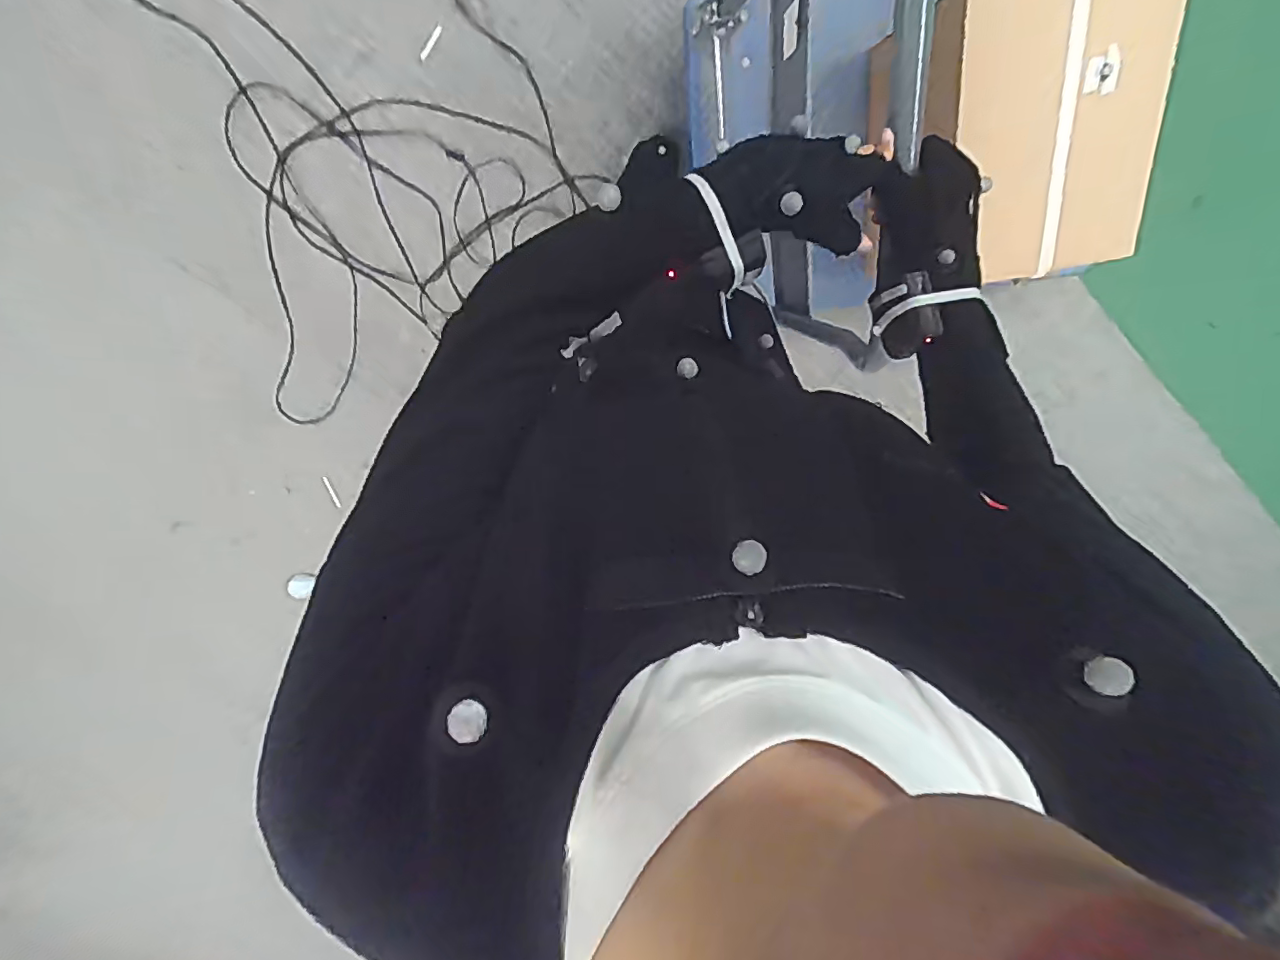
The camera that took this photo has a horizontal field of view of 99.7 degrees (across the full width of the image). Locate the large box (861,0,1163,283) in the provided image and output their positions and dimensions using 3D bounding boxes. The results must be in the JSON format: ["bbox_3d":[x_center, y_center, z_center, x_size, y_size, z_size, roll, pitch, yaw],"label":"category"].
[{"bbox_3d":[0.605,-0.591,0.956,0.320,0.320,0.408,-10,114,0],"label":"large box"}]
